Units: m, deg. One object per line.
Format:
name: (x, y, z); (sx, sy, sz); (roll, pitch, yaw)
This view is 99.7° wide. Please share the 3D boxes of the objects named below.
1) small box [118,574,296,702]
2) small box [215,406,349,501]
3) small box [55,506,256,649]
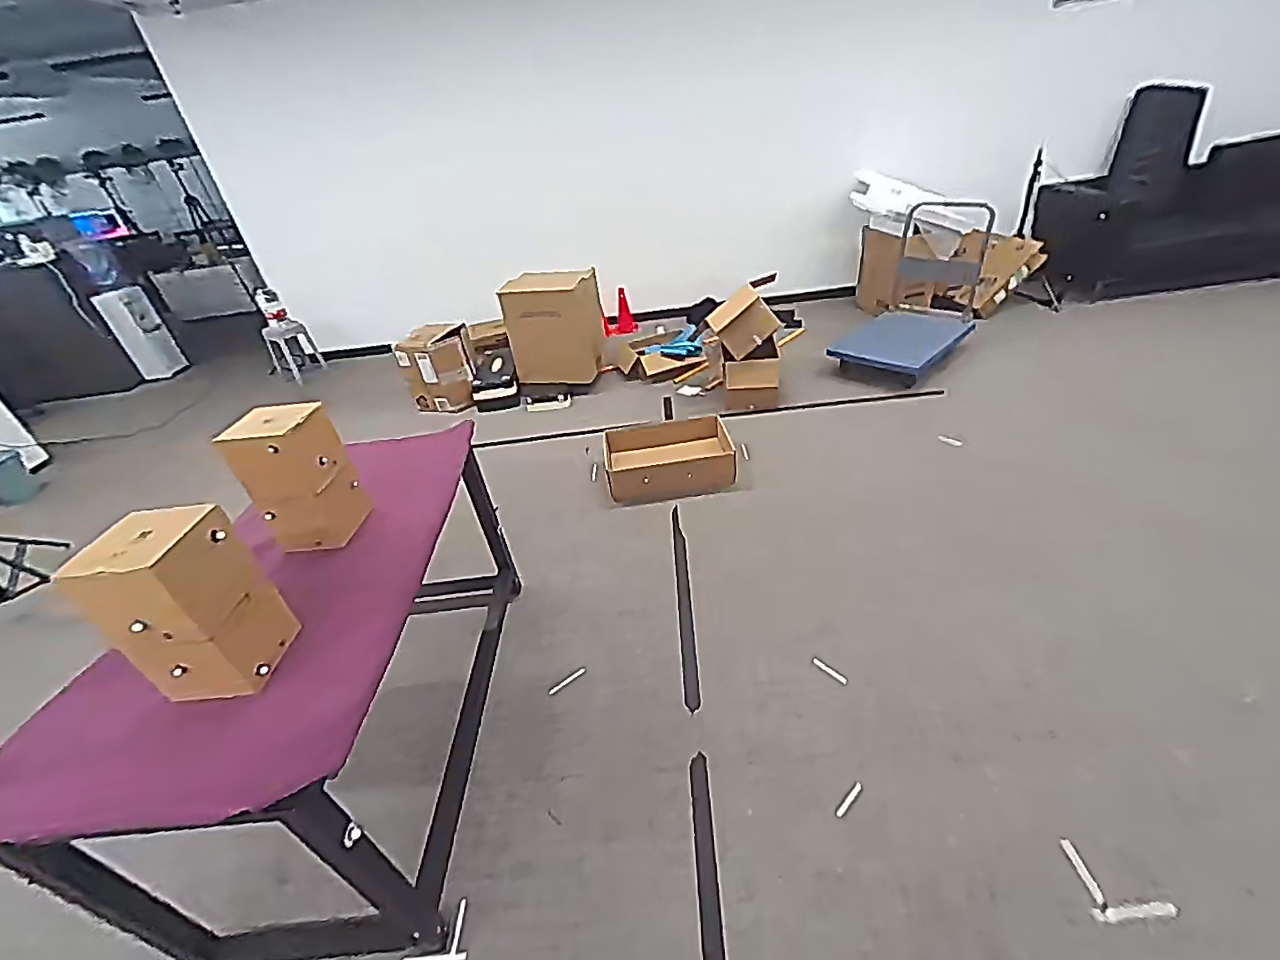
small box: (-0.813, 0.304, 1.042); (0.179, 0.176, 0.168); (-6, 33, 3)
small box: (-0.847, -0.062, 1.299); (0.179, 0.176, 0.168); (-5, 34, 5)
small box: (-0.823, 0.168, 0.948); (0.168, 0.176, 0.179); (-6, 33, 2)
